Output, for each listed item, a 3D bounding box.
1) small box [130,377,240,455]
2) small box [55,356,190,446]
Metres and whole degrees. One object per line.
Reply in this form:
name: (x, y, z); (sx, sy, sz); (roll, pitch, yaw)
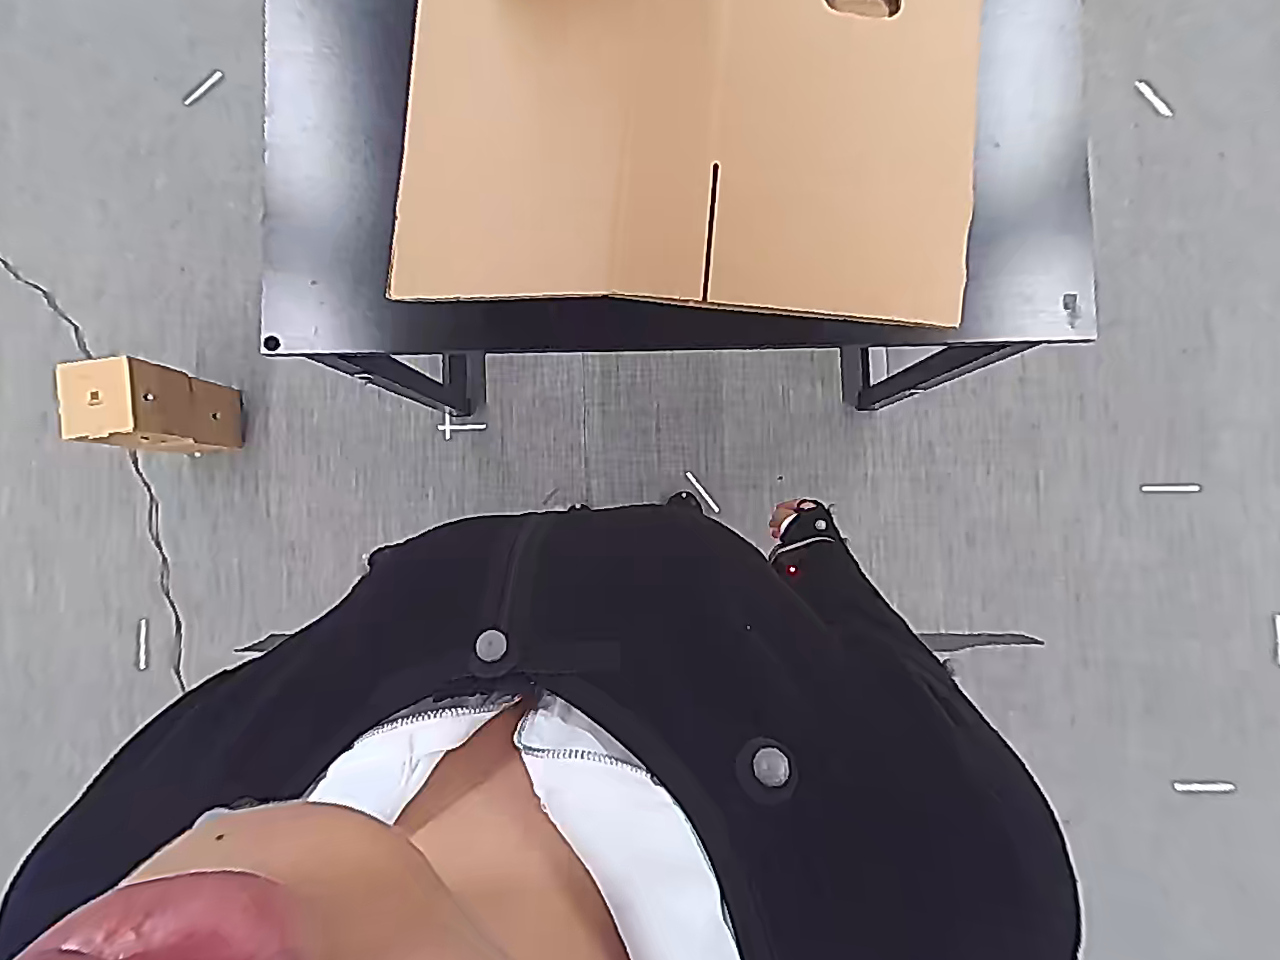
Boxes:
small box: (-1.217, -0.167, 1.451); (0.168, 0.176, 0.179); (-5, 88, 1)
small box: (-1.221, -0.179, 1.289); (0.168, 0.176, 0.179); (-8, 87, 0)
